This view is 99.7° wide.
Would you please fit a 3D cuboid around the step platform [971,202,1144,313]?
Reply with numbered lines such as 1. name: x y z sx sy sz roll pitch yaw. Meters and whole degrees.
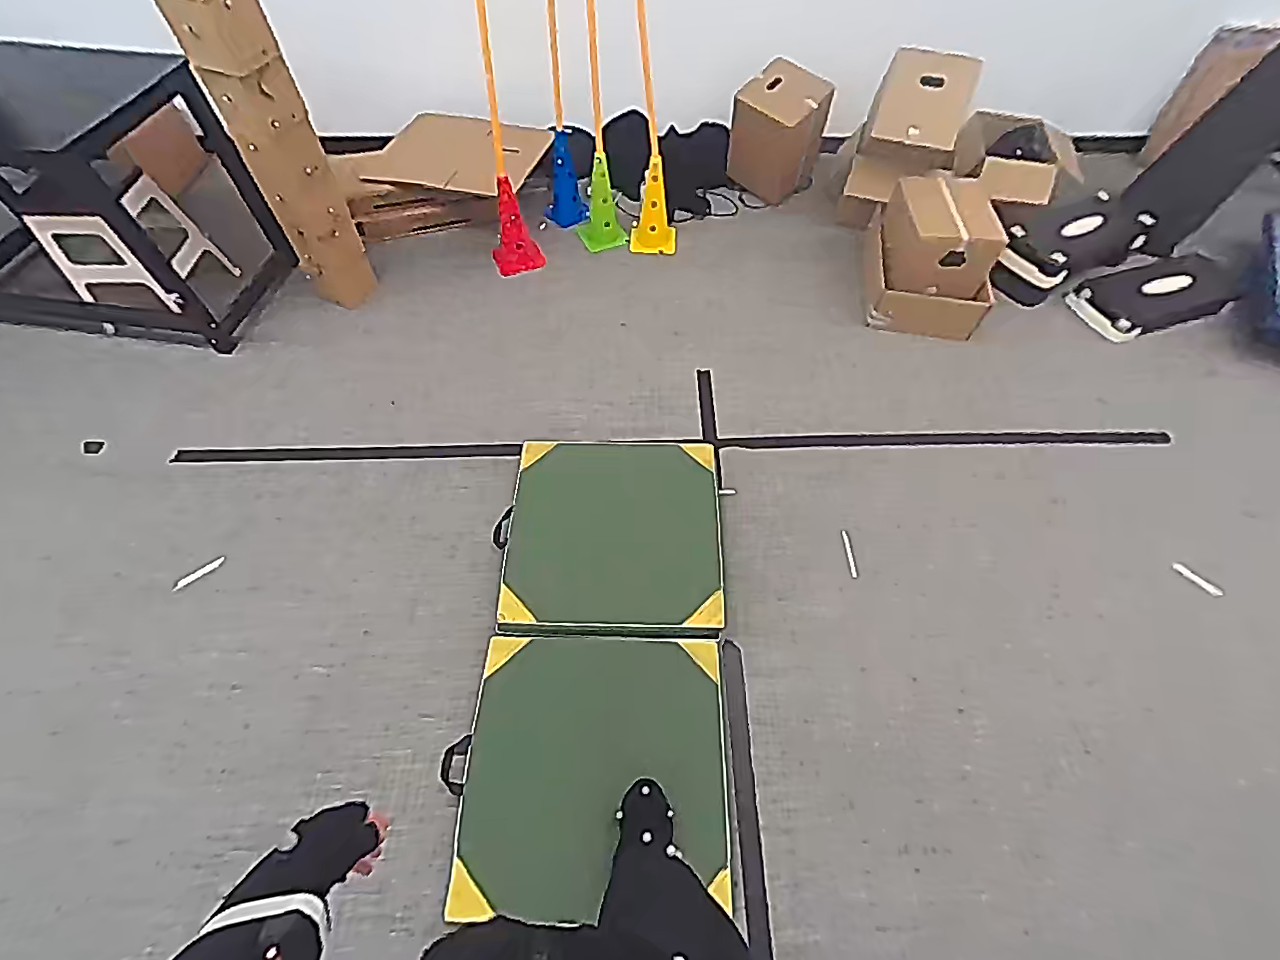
1. step platform: 1.788 -0.961 2.313 0.684 0.204 0.286 -25 61 -16
